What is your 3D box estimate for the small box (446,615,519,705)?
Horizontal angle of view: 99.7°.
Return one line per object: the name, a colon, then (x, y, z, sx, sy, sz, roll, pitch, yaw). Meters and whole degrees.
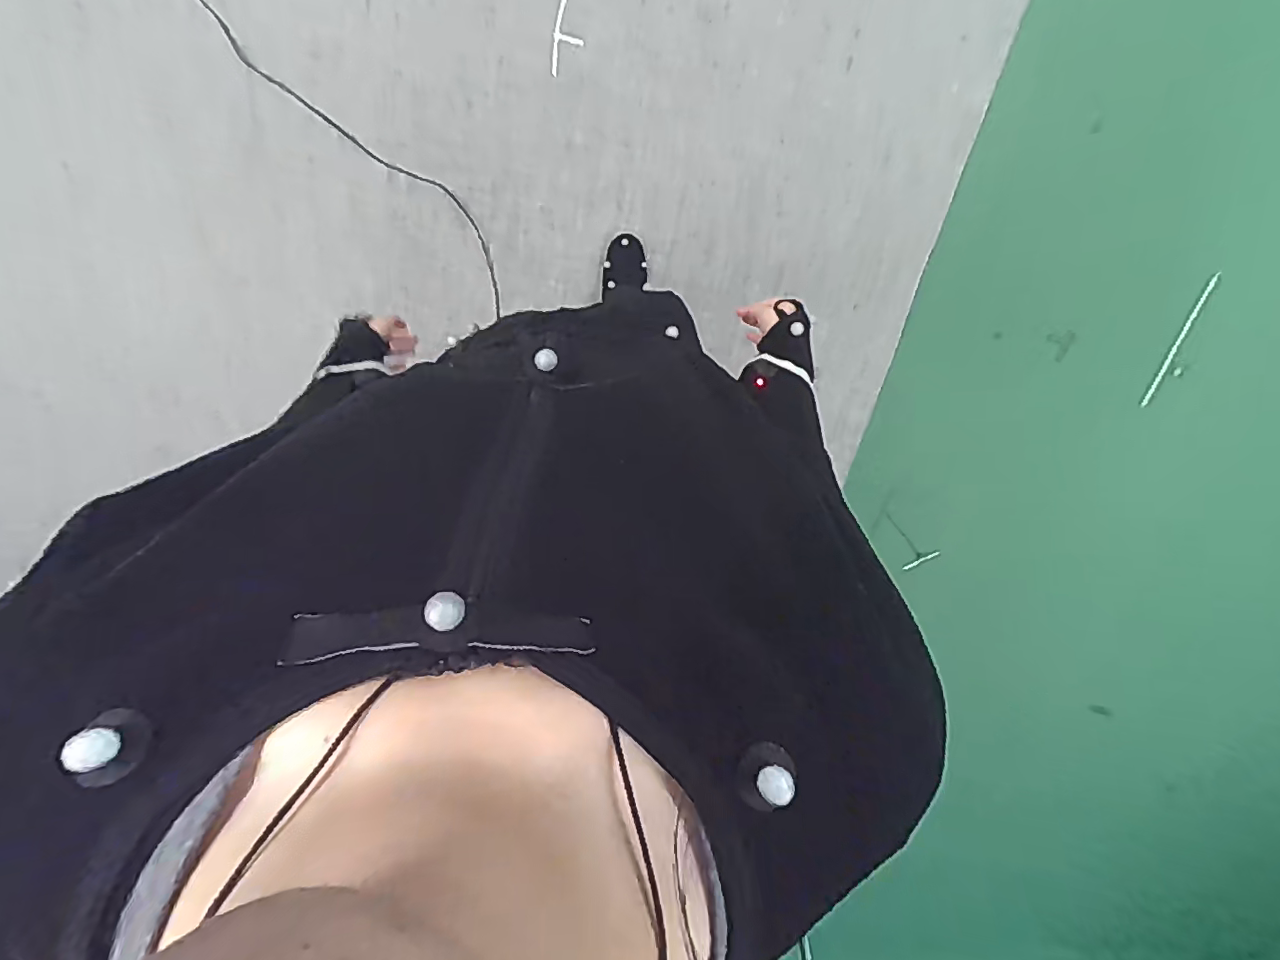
small box: (-0.462, 0.531, 1.604, 0.168, 0.176, 0.179, 13, 109, -10)
